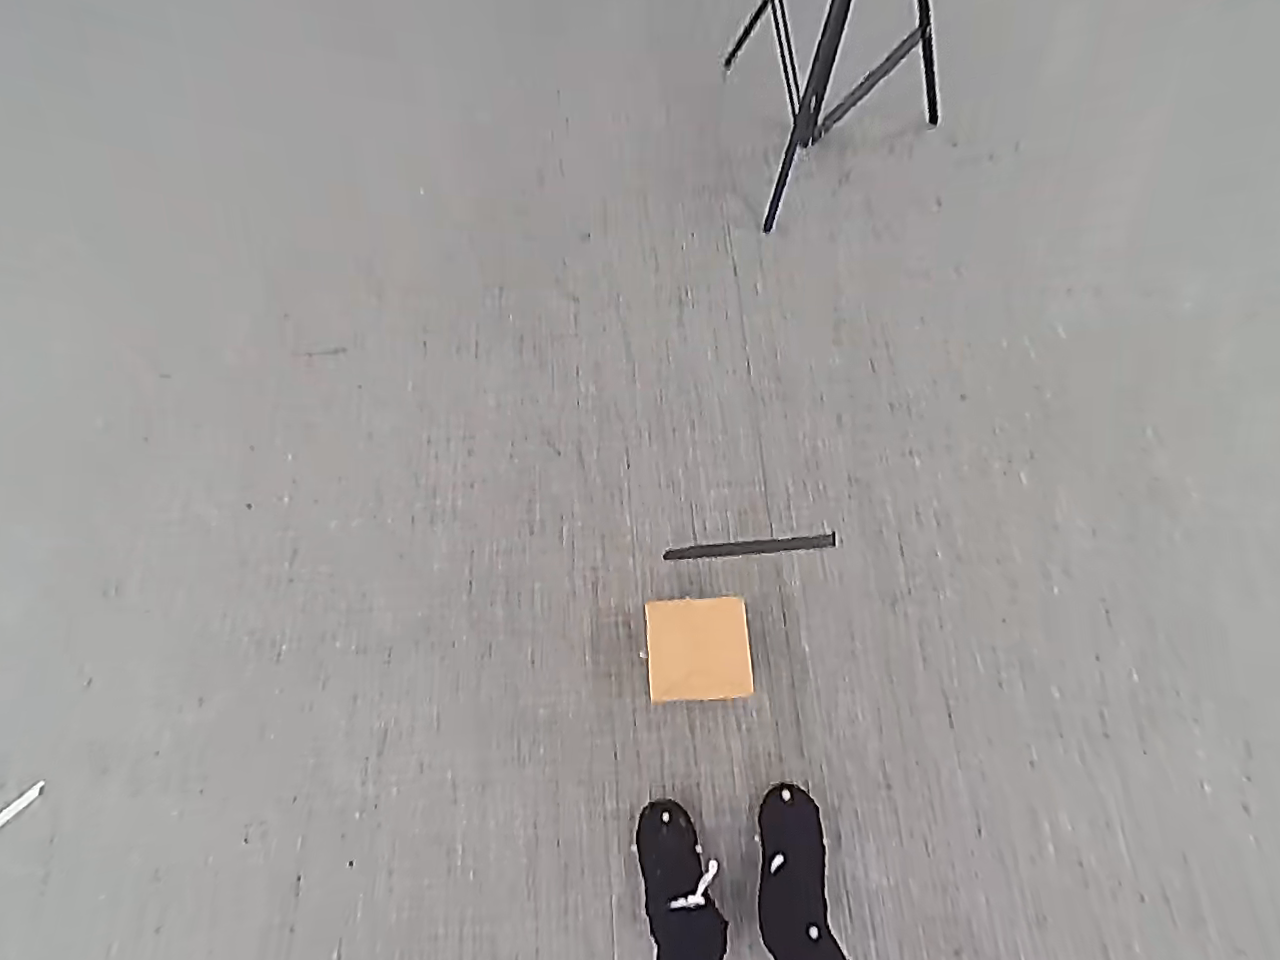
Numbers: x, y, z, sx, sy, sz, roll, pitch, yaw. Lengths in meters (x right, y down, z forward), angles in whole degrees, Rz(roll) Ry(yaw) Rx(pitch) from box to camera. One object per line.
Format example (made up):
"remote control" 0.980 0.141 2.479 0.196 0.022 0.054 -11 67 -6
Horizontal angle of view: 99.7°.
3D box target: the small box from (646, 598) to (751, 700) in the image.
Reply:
"small box" 0.104 0.313 1.006 0.179 0.176 0.168 -3 72 1
